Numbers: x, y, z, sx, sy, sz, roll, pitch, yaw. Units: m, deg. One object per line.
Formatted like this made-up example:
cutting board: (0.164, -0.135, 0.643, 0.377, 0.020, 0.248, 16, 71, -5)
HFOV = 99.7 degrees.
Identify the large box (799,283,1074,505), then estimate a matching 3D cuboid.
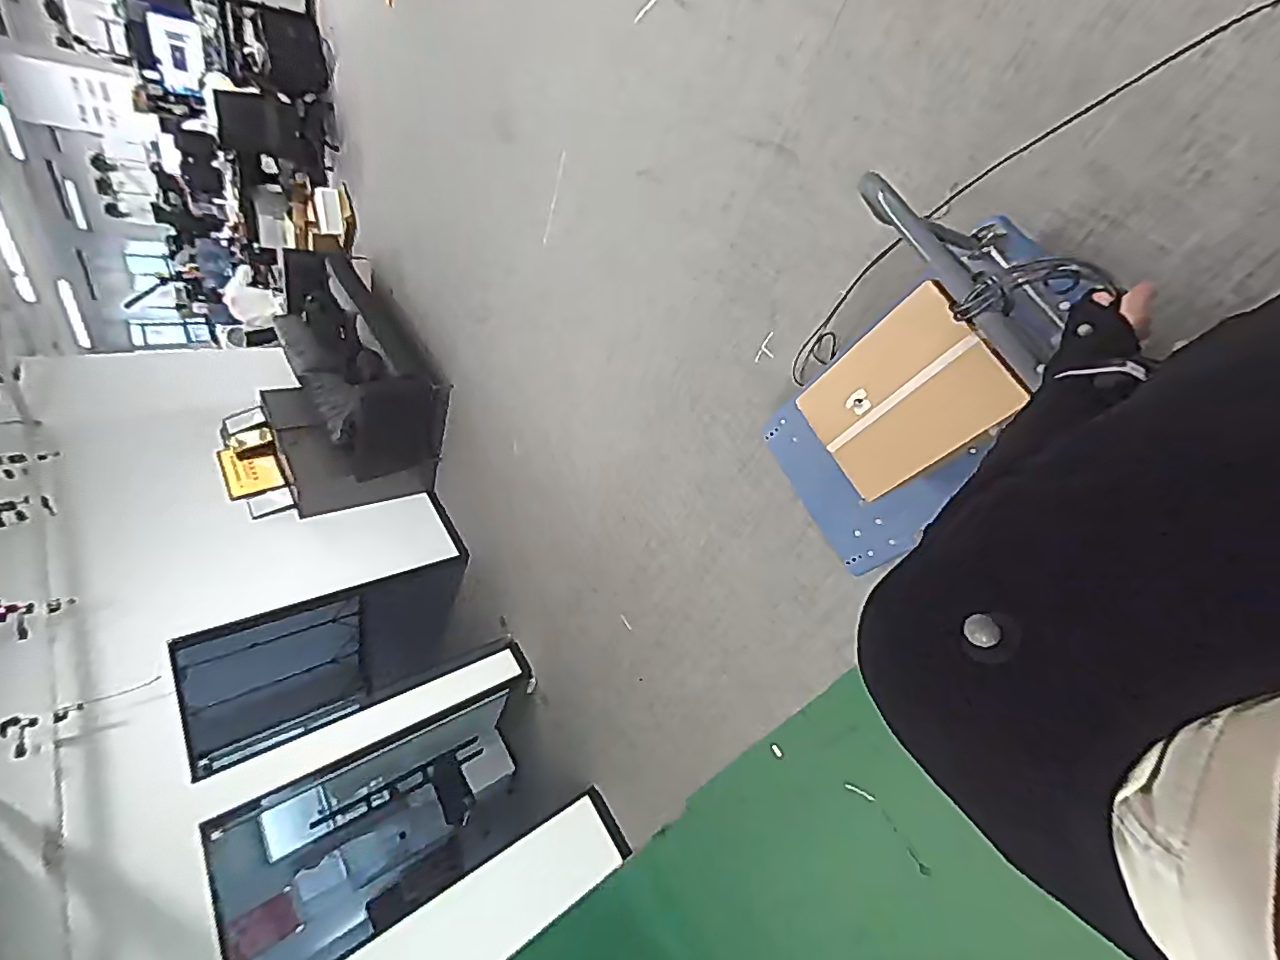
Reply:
large box: (0.670, -0.200, 1.261, 0.408, 0.320, 0.320, -48, 64, 47)
